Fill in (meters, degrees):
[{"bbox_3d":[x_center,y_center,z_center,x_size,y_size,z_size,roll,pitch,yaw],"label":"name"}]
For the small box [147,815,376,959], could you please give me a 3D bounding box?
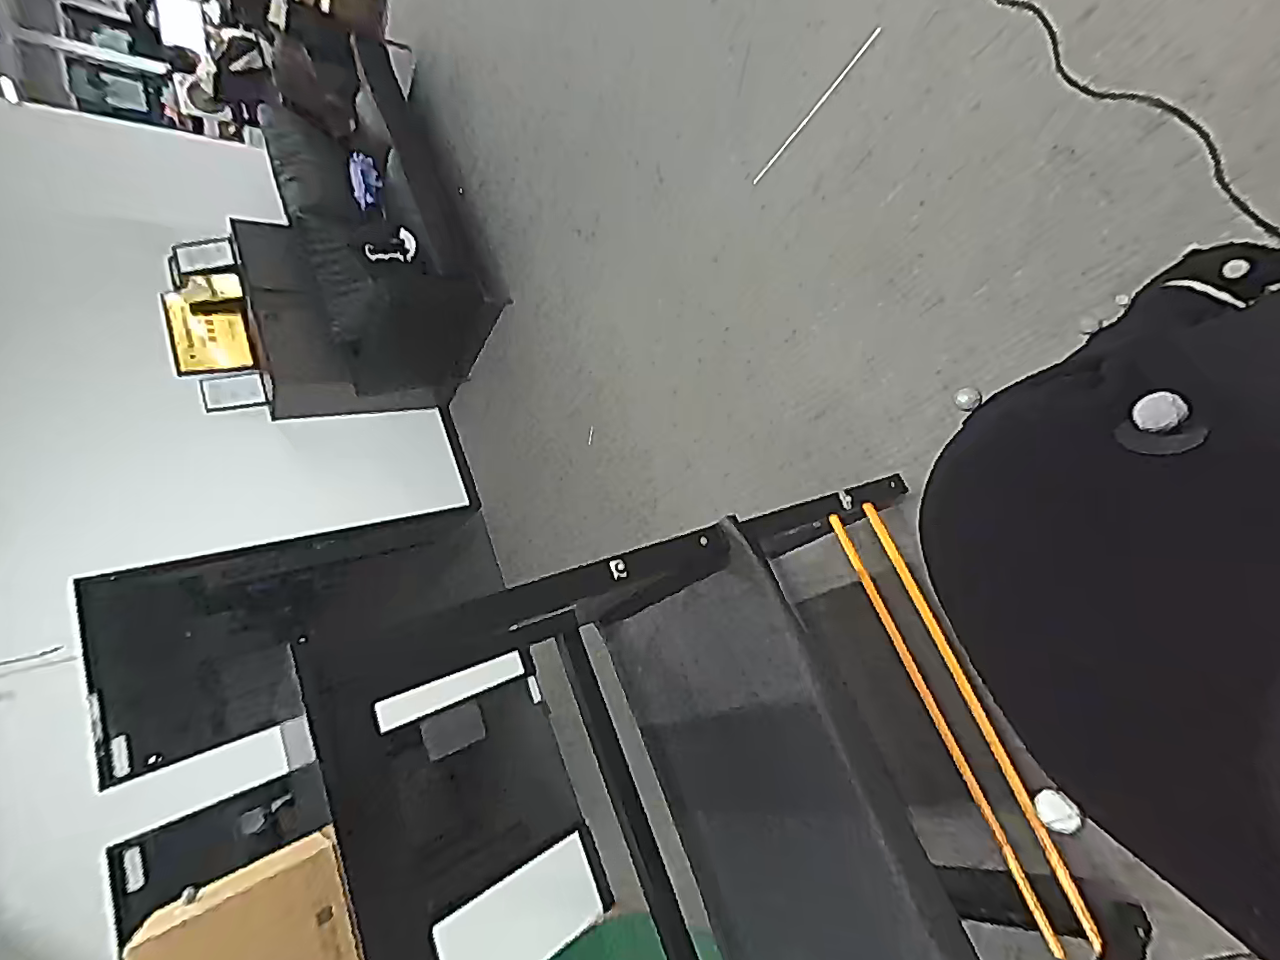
[{"bbox_3d":[-0.396,0.492,0.584,0.179,0.176,0.168,-38,69,49],"label":"small box"}]
